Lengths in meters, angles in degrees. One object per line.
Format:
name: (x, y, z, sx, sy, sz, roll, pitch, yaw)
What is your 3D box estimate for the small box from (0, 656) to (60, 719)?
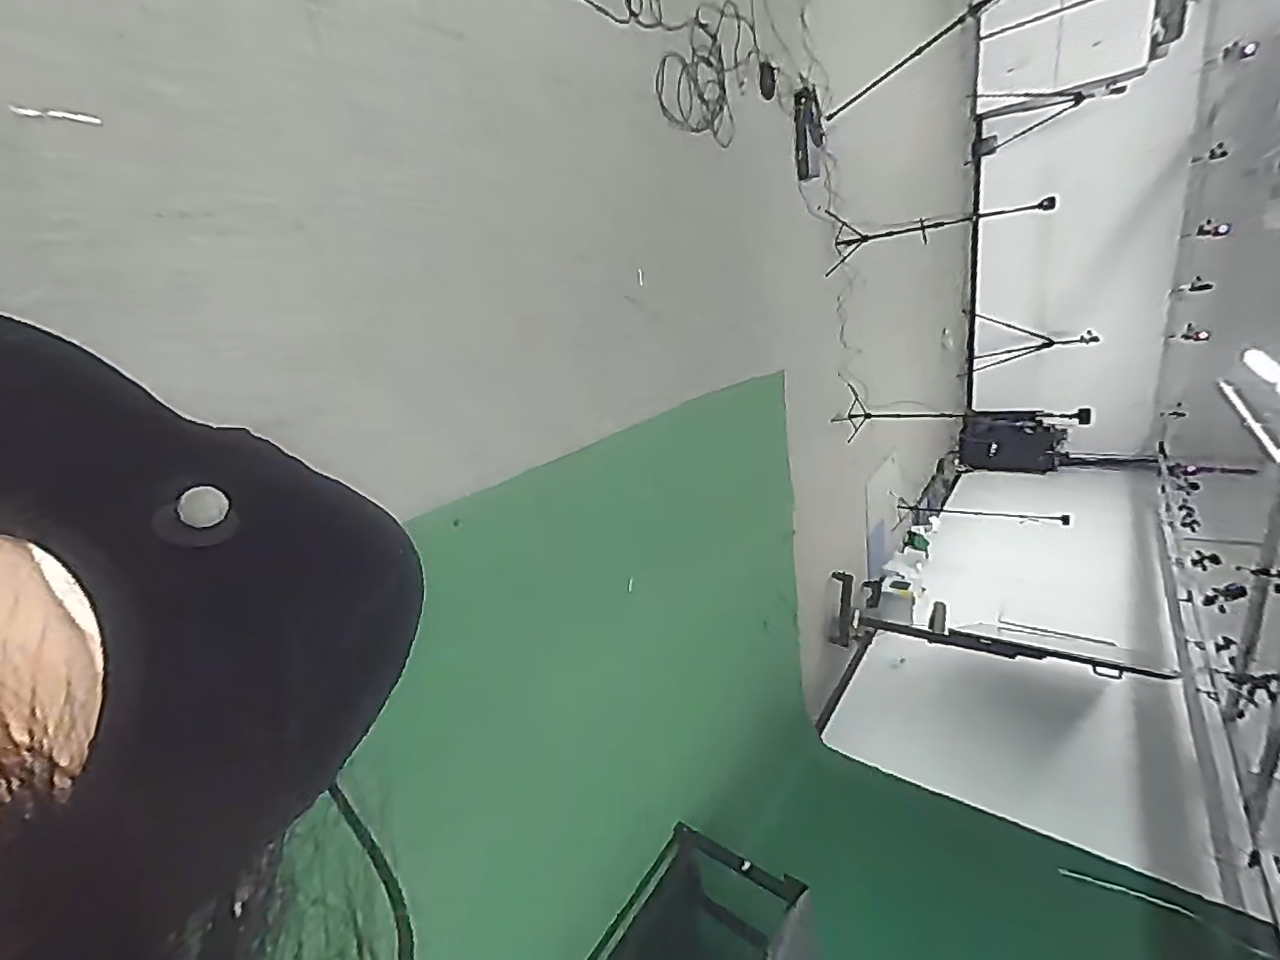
small box: (-1.101, 0.426, 0.908, 0.168, 0.176, 0.179, -21, 110, -50)

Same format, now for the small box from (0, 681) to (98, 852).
small box: (-0.972, 0.434, 0.809, 0.168, 0.176, 0.179, -35, 118, -47)
